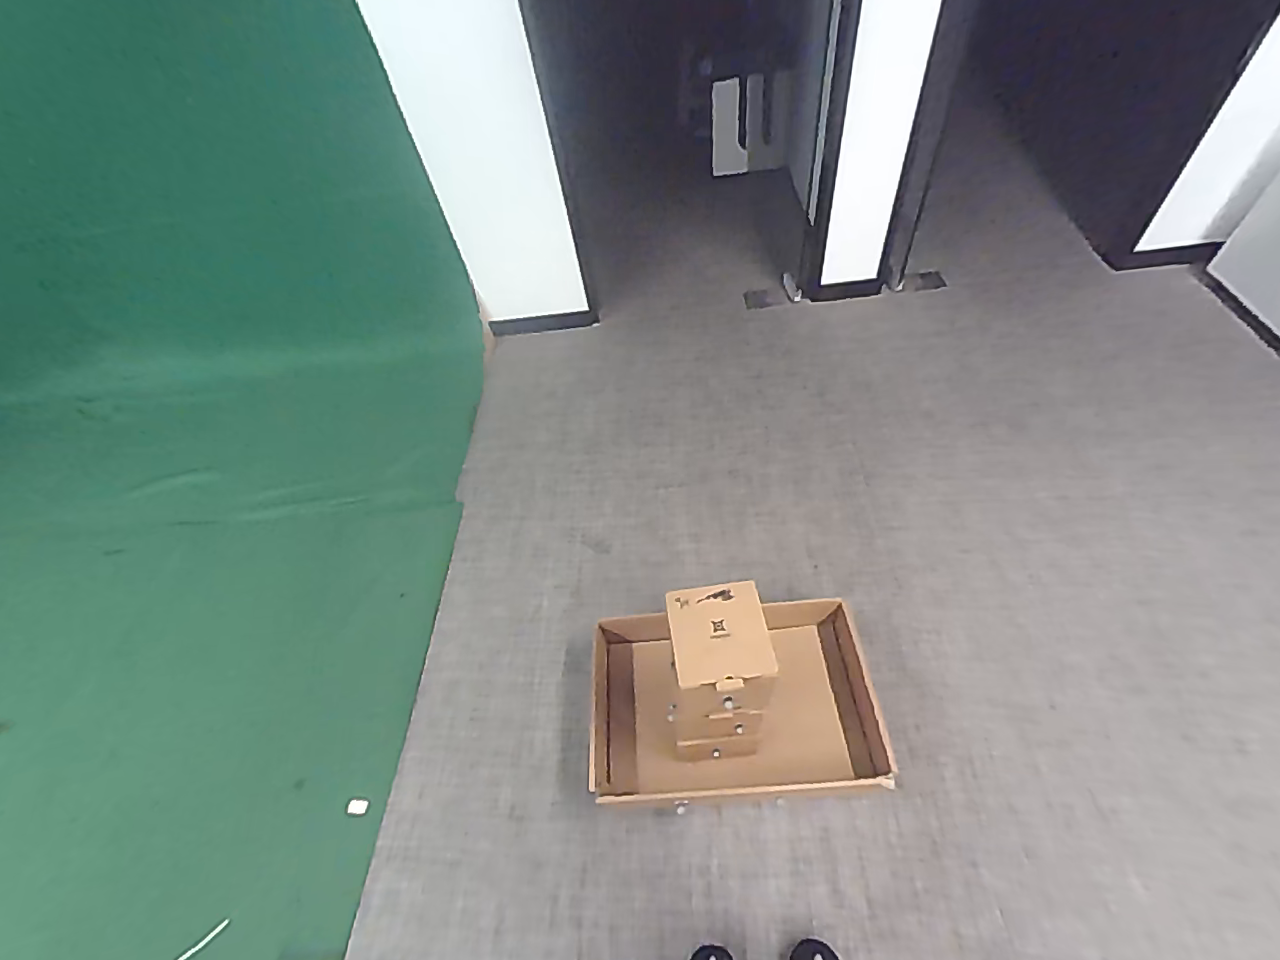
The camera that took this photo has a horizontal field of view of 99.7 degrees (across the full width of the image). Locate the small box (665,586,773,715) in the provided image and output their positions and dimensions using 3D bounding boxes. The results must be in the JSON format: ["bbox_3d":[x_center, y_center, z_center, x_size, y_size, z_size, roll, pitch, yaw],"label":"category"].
[{"bbox_3d":[0.138,0.316,0.985,0.168,0.176,0.179,-6,51,1],"label":"small box"}]

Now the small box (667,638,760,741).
[{"bbox_3d":[0.147,0.424,1.108,0.168,0.176,0.179,-4,49,2],"label":"small box"}]

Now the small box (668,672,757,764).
[{"bbox_3d":[0.161,0.532,1.226,0.179,0.176,0.168,-7,50,4],"label":"small box"}]
